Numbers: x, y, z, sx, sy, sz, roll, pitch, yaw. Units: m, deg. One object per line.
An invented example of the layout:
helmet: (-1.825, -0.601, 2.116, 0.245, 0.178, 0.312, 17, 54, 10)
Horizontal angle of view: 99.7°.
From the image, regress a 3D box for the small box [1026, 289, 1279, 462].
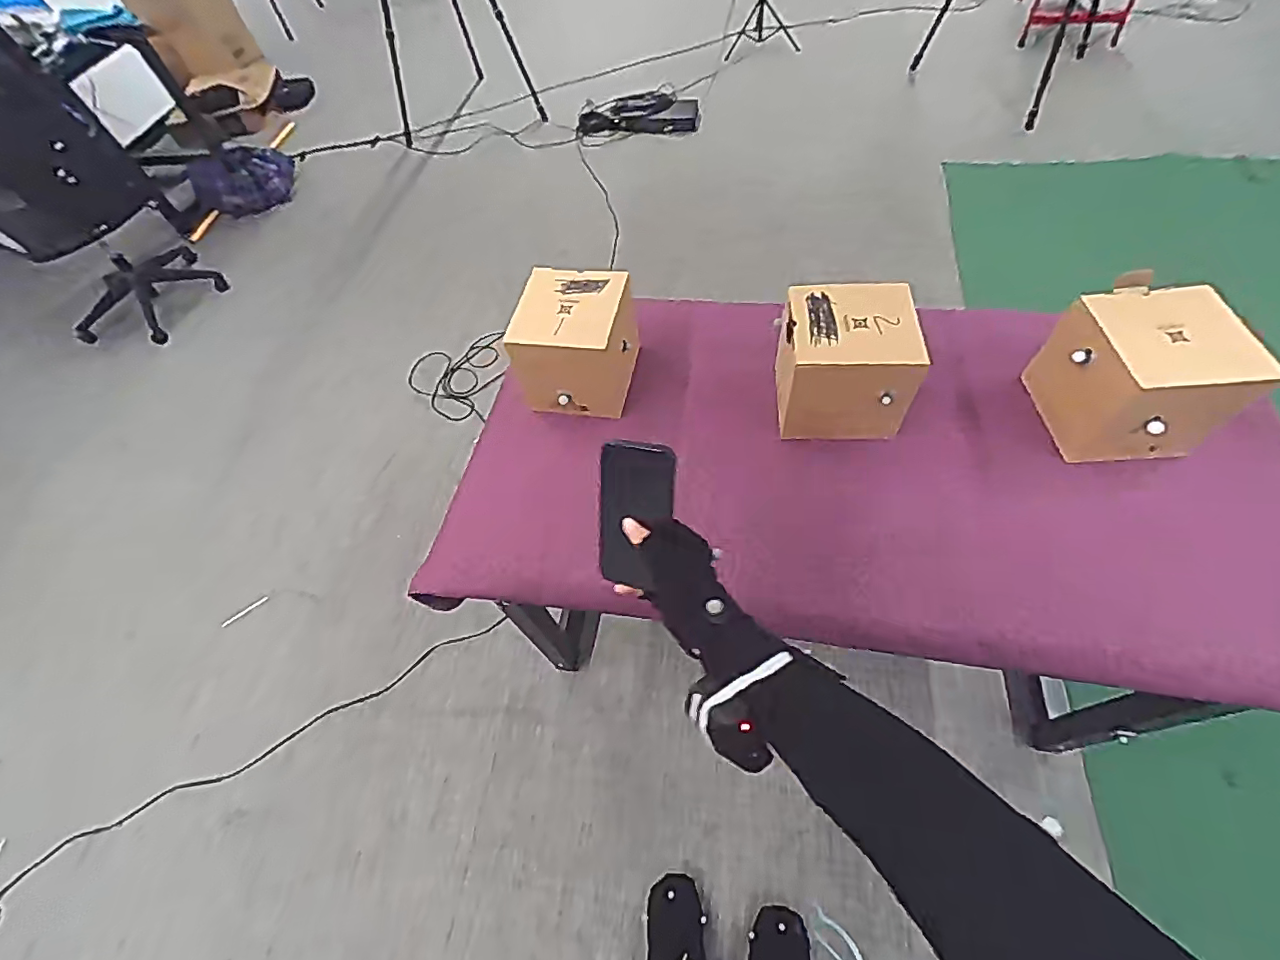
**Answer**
small box: (0.692, -0.137, 0.758, 0.168, 0.176, 0.179, -3, 56, 5)

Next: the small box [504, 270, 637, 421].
small box: (-0.103, -0.225, 0.909, 0.168, 0.176, 0.179, 7, 60, 11)
